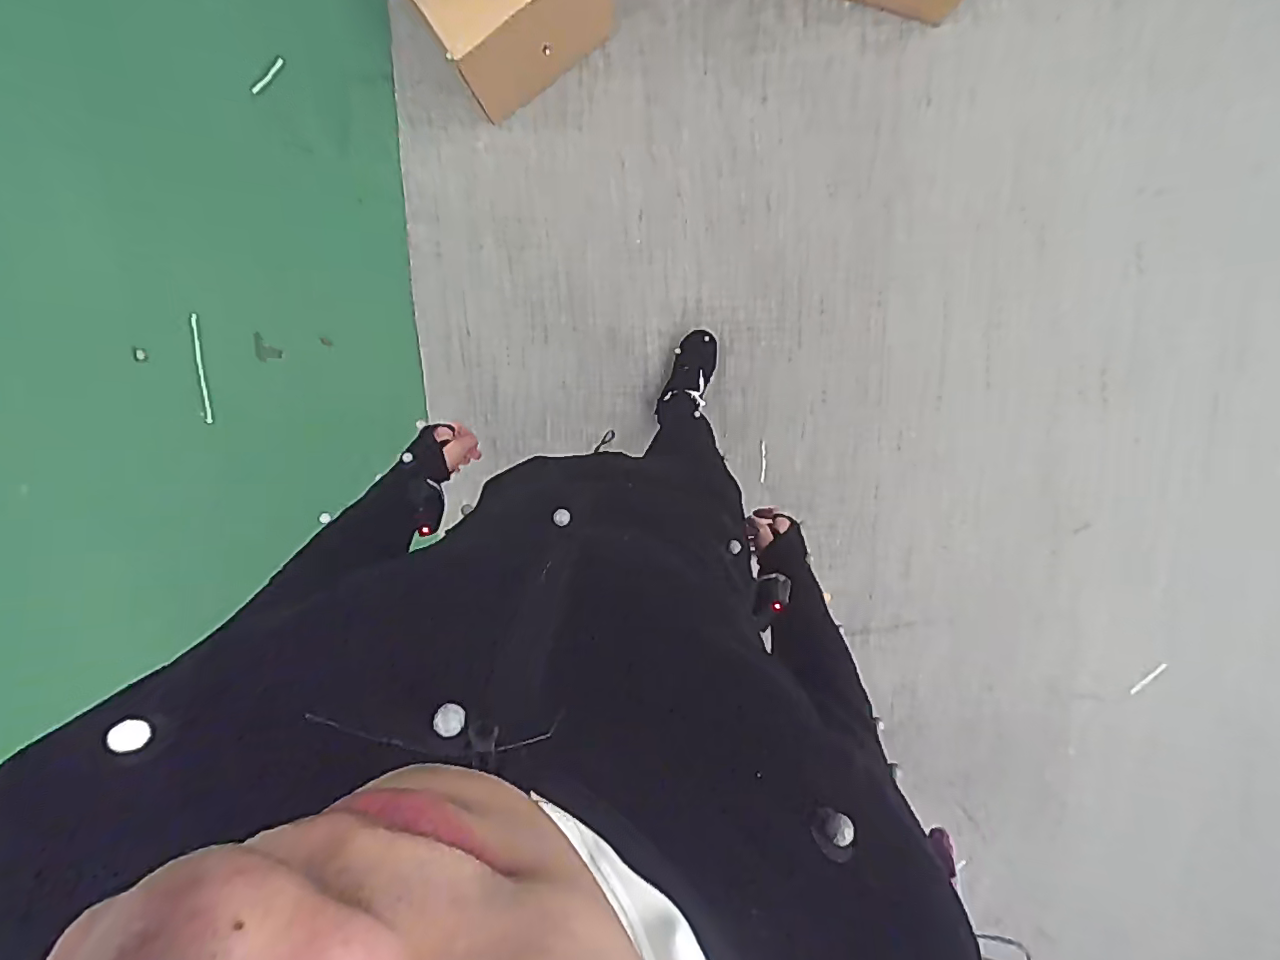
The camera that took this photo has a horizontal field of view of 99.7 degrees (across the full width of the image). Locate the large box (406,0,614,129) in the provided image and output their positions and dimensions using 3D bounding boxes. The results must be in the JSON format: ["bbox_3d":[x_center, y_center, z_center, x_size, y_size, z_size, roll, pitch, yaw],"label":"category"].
[{"bbox_3d":[-0.316,-1.148,1.270,0.408,0.320,0.320,-34,96,8],"label":"large box"}]
